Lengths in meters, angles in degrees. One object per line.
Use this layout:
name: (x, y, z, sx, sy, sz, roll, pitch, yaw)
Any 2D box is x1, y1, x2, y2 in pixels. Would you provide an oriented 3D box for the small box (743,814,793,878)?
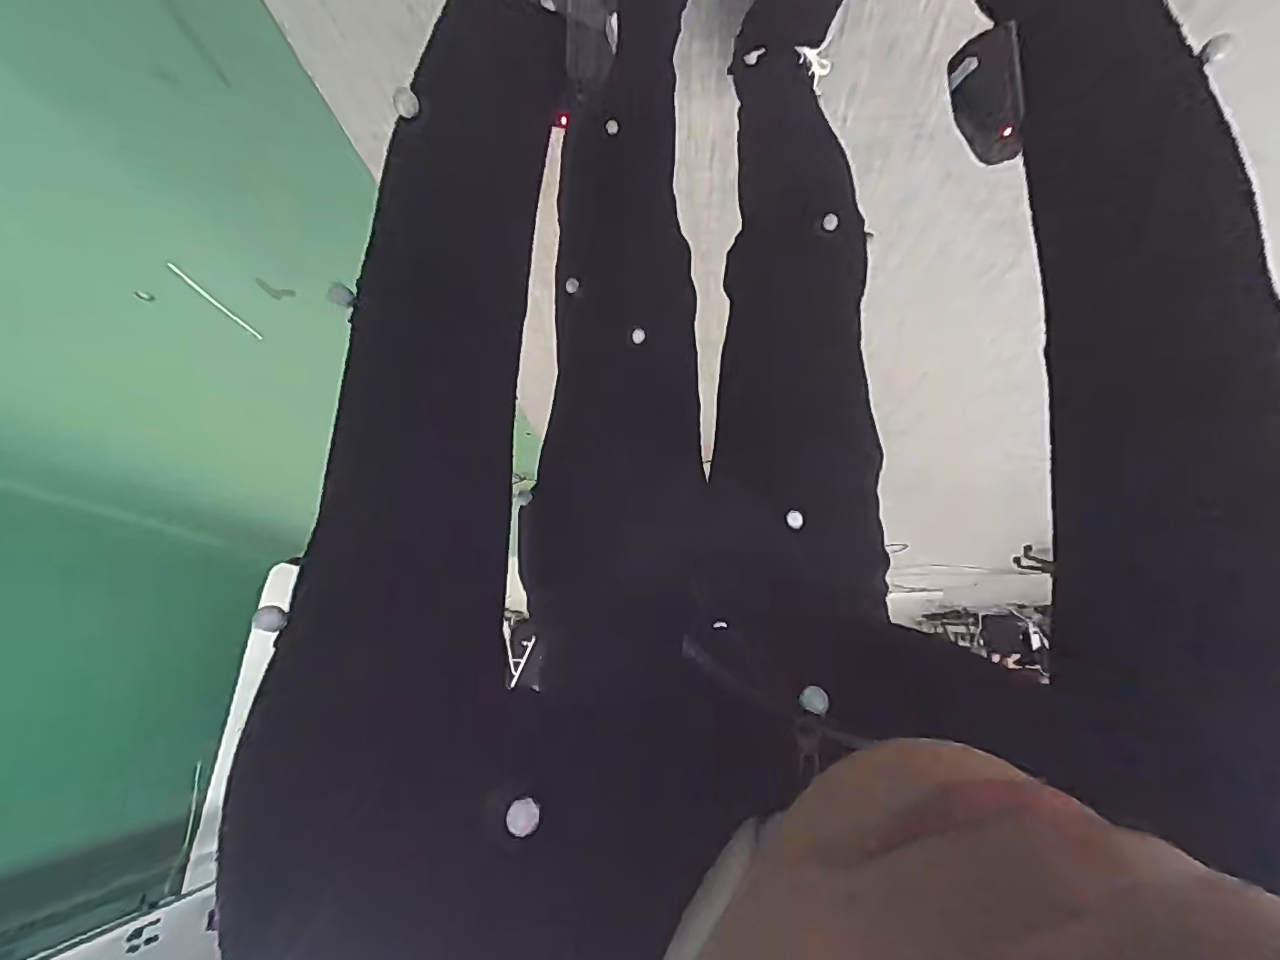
small box: (0.500, 1.435, 2.130, 0.179, 0.176, 0.168, 0, 161, 8)
